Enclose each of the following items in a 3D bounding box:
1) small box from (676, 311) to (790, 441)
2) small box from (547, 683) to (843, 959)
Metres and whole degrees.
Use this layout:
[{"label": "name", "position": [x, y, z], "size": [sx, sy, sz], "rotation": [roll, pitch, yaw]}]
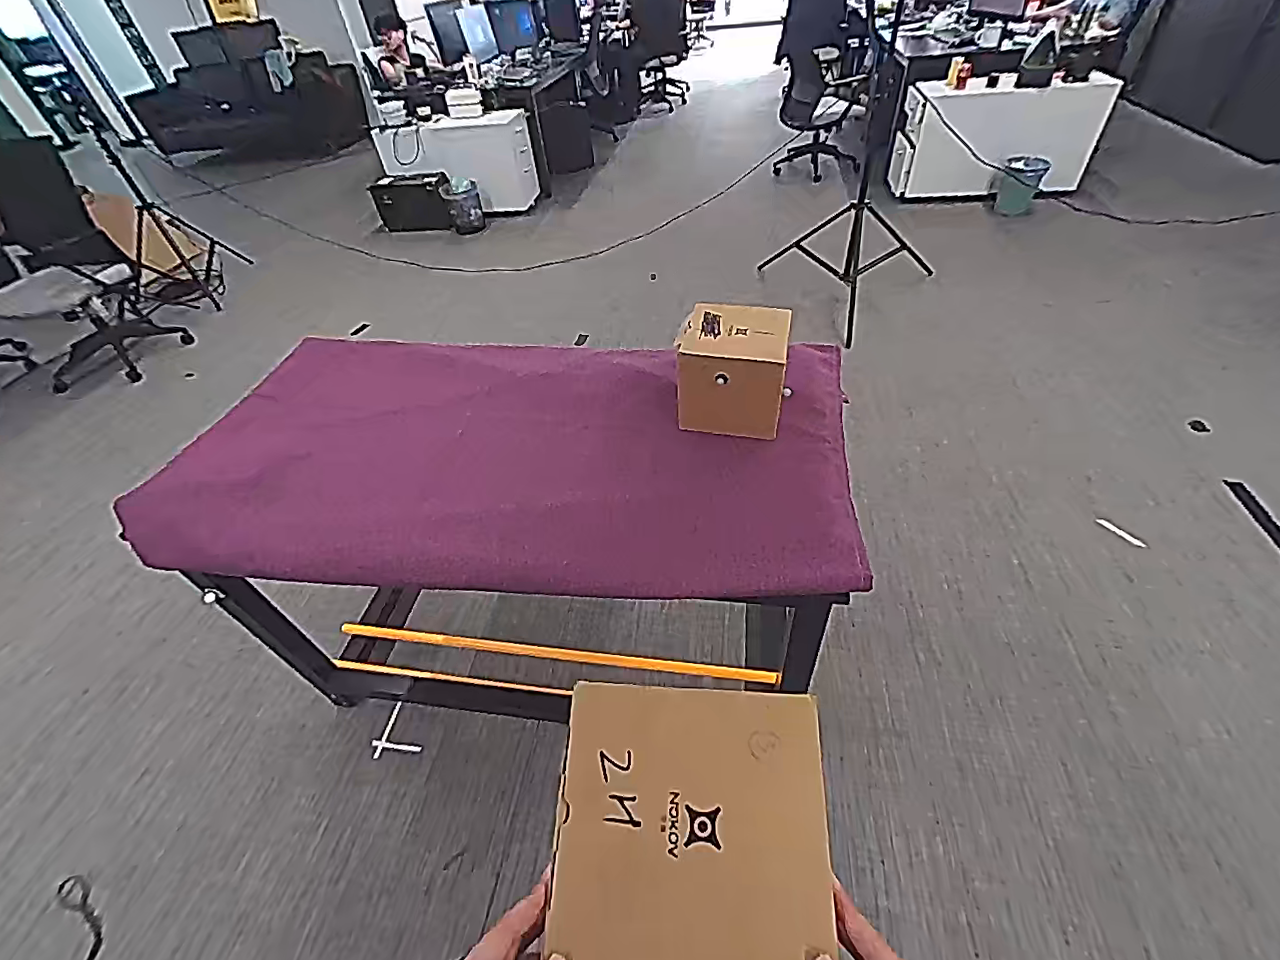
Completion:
[{"label": "small box", "position": [0.169, -0.188, 0.984], "size": [0.179, 0.176, 0.168], "rotation": [8, 48, 13]}, {"label": "small box", "position": [0.042, 0.262, 0.420], "size": [0.179, 0.176, 0.168], "rotation": [1, 60, 6]}]
